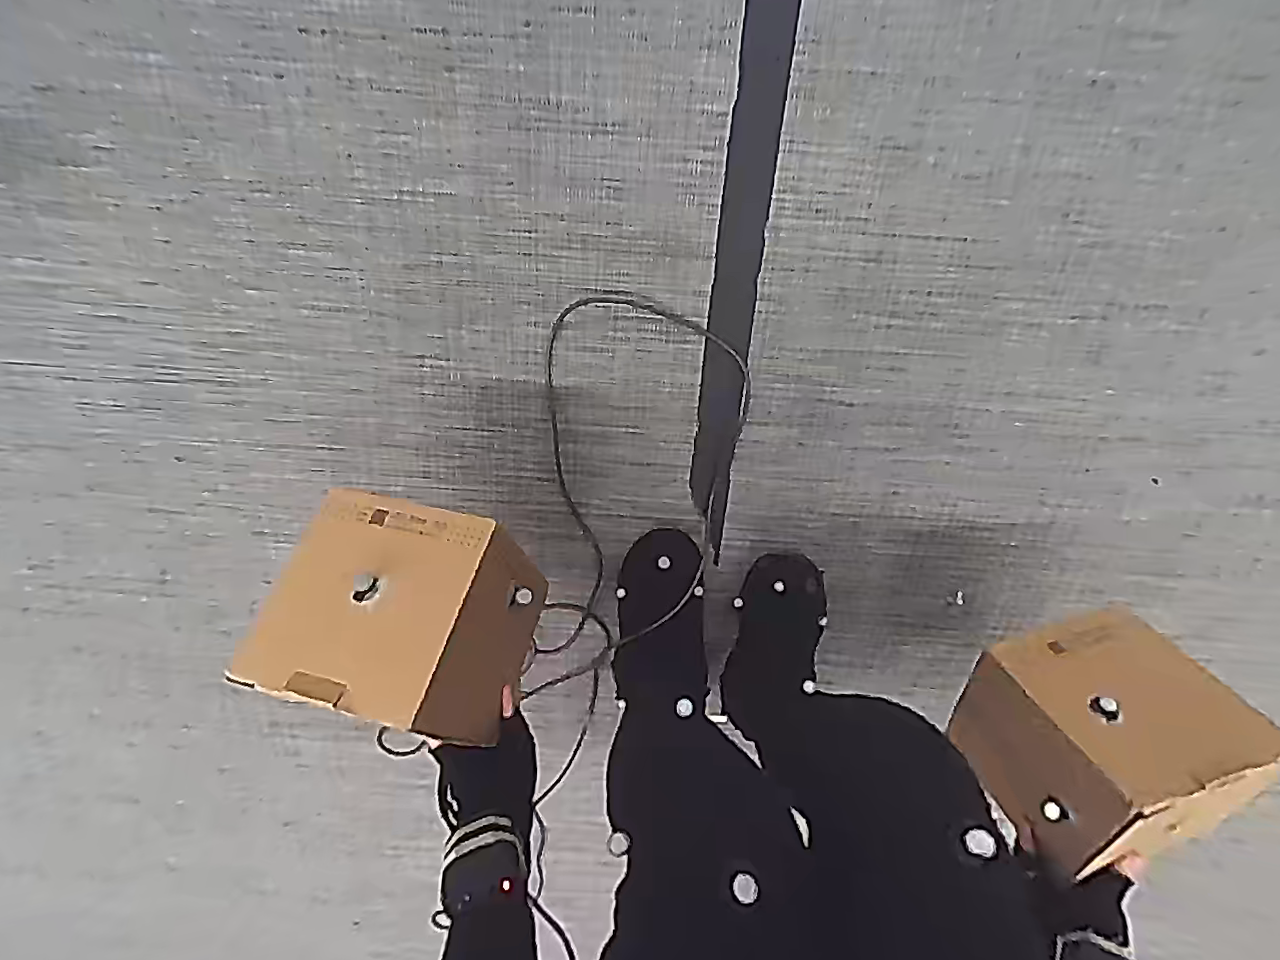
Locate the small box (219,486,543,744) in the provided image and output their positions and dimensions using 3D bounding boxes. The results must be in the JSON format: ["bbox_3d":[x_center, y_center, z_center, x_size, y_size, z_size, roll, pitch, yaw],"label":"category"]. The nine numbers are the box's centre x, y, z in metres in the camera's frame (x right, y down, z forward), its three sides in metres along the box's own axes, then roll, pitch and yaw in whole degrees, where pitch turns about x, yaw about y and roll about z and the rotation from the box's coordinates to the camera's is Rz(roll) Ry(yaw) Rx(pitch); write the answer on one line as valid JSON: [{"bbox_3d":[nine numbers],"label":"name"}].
[{"bbox_3d":[-0.207,0.123,0.491,0.168,0.176,0.179,10,152,13],"label":"small box"}]

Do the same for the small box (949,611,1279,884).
[{"bbox_3d":[0.446,0.251,0.535,0.168,0.176,0.179,-14,129,-8],"label":"small box"}]
